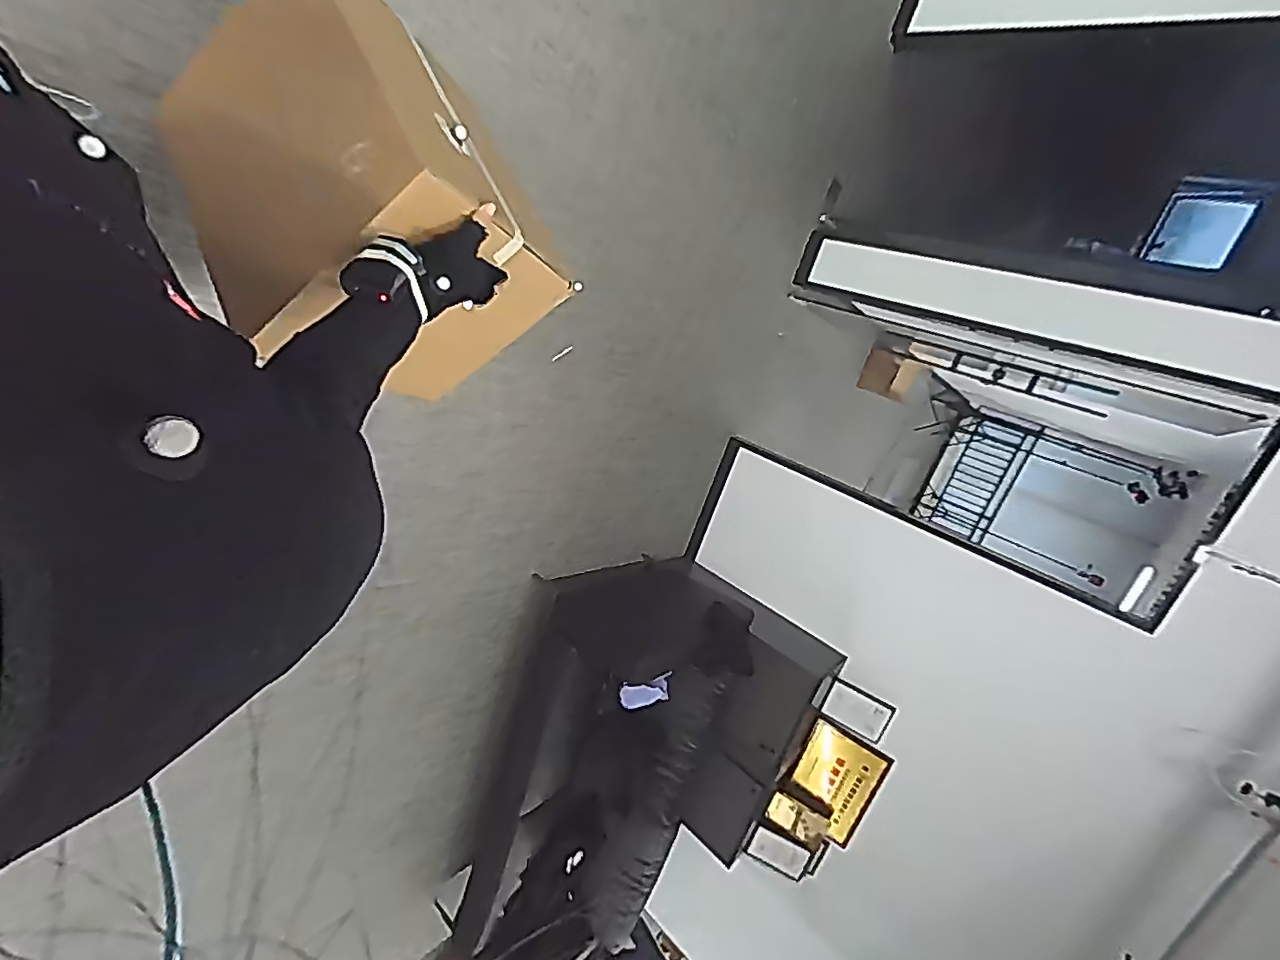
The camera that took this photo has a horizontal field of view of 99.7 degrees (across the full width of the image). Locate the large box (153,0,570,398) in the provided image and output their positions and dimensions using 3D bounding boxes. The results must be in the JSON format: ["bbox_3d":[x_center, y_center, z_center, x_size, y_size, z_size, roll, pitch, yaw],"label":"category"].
[{"bbox_3d":[-0.371,-0.385,0.758,0.320,0.408,0.320,-32,167,17],"label":"large box"}]
